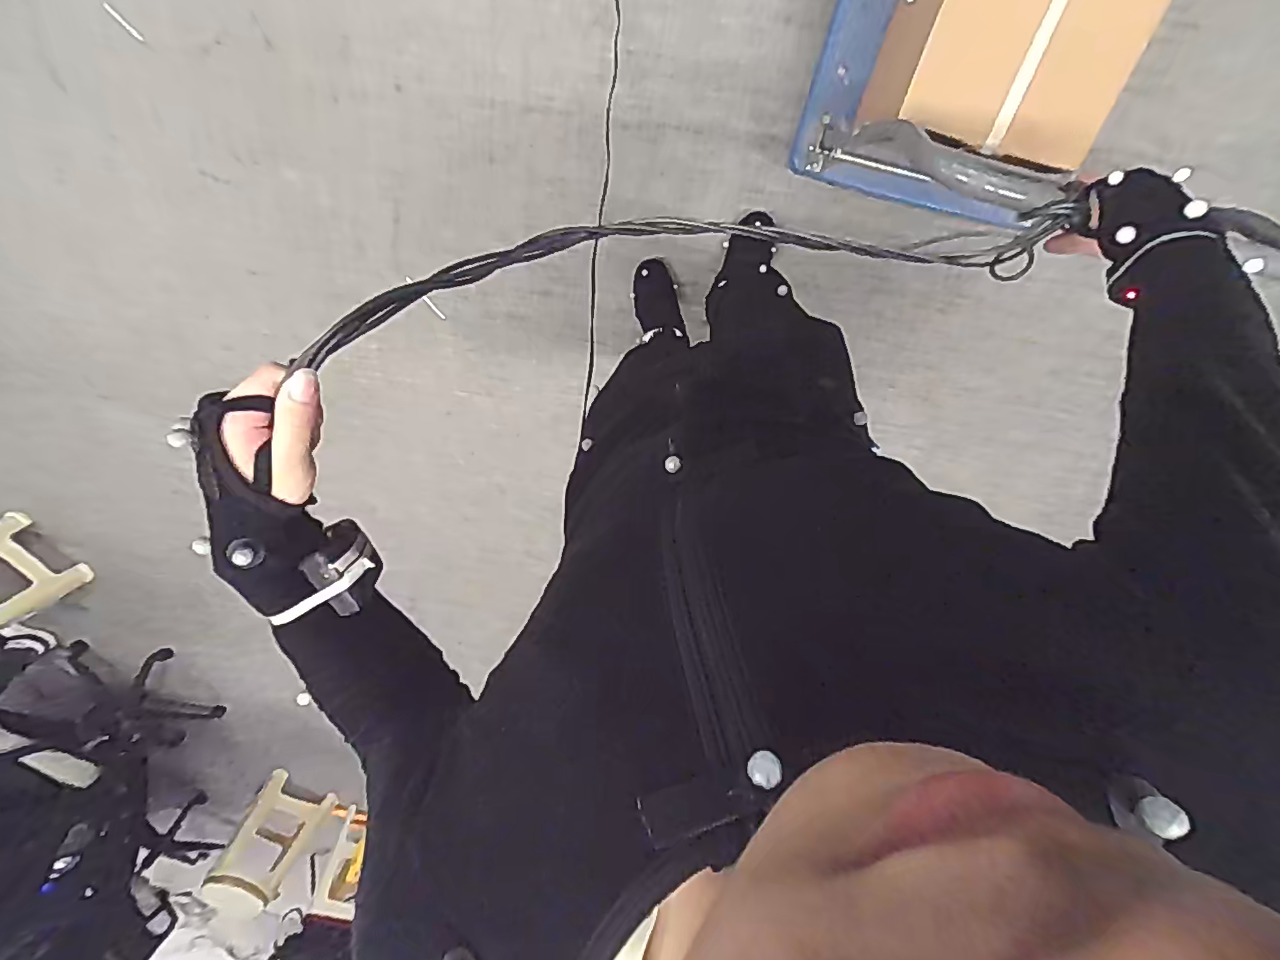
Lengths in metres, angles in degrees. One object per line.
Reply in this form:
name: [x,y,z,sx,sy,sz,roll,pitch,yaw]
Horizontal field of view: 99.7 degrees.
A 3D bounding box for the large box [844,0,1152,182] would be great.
large box: [0.603,-0.773,0.929,0.320,0.320,0.408,14,117,-3]
